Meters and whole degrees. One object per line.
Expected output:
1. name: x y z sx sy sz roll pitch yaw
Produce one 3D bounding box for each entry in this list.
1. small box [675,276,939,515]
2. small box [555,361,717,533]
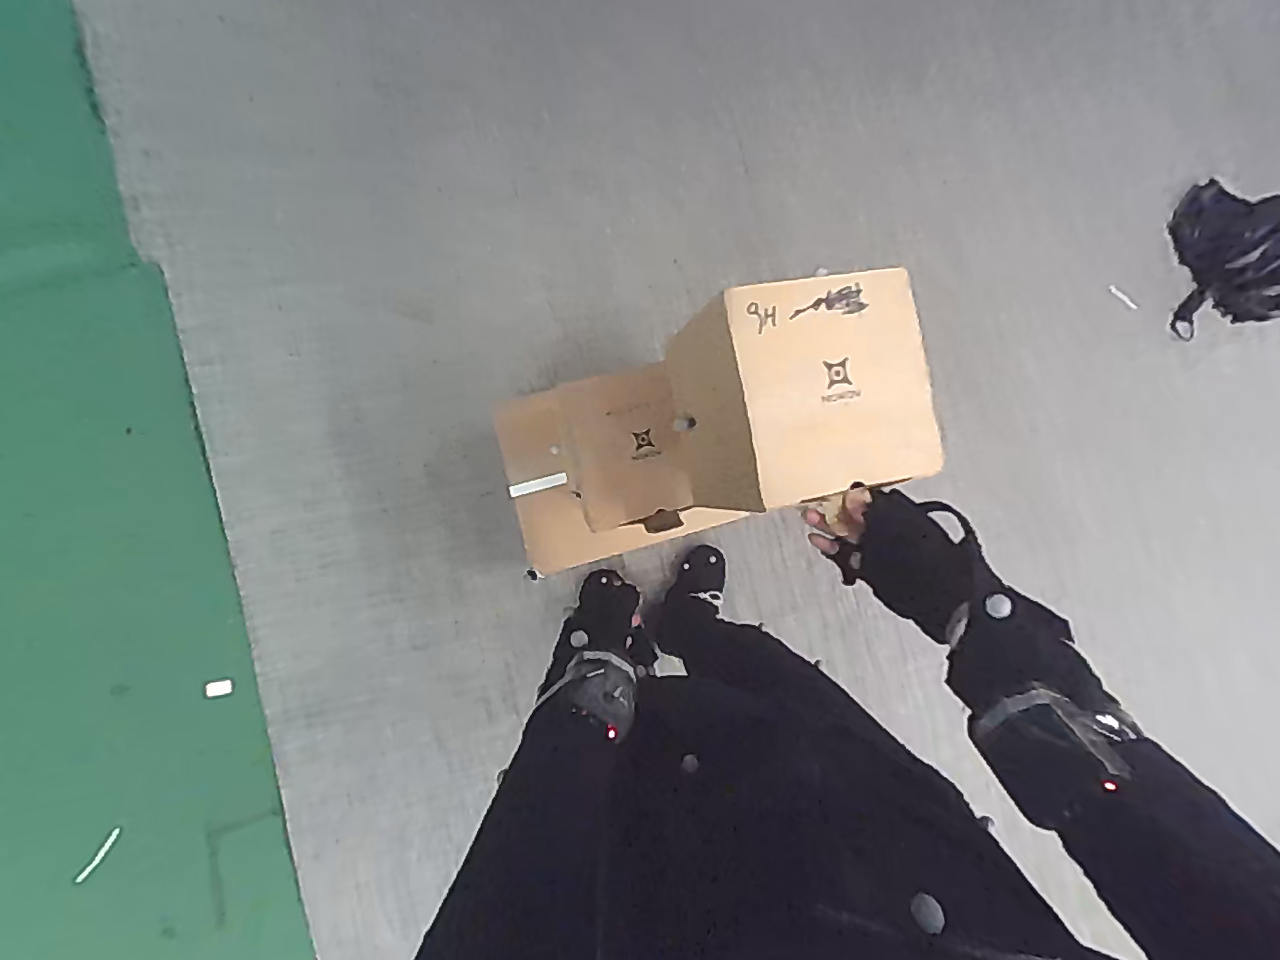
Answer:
1. small box: 0.143 -0.072 0.515 0.168 0.176 0.179 -11 92 -12
2. small box: -0.011 -0.043 0.706 0.168 0.176 0.179 -15 93 -10
